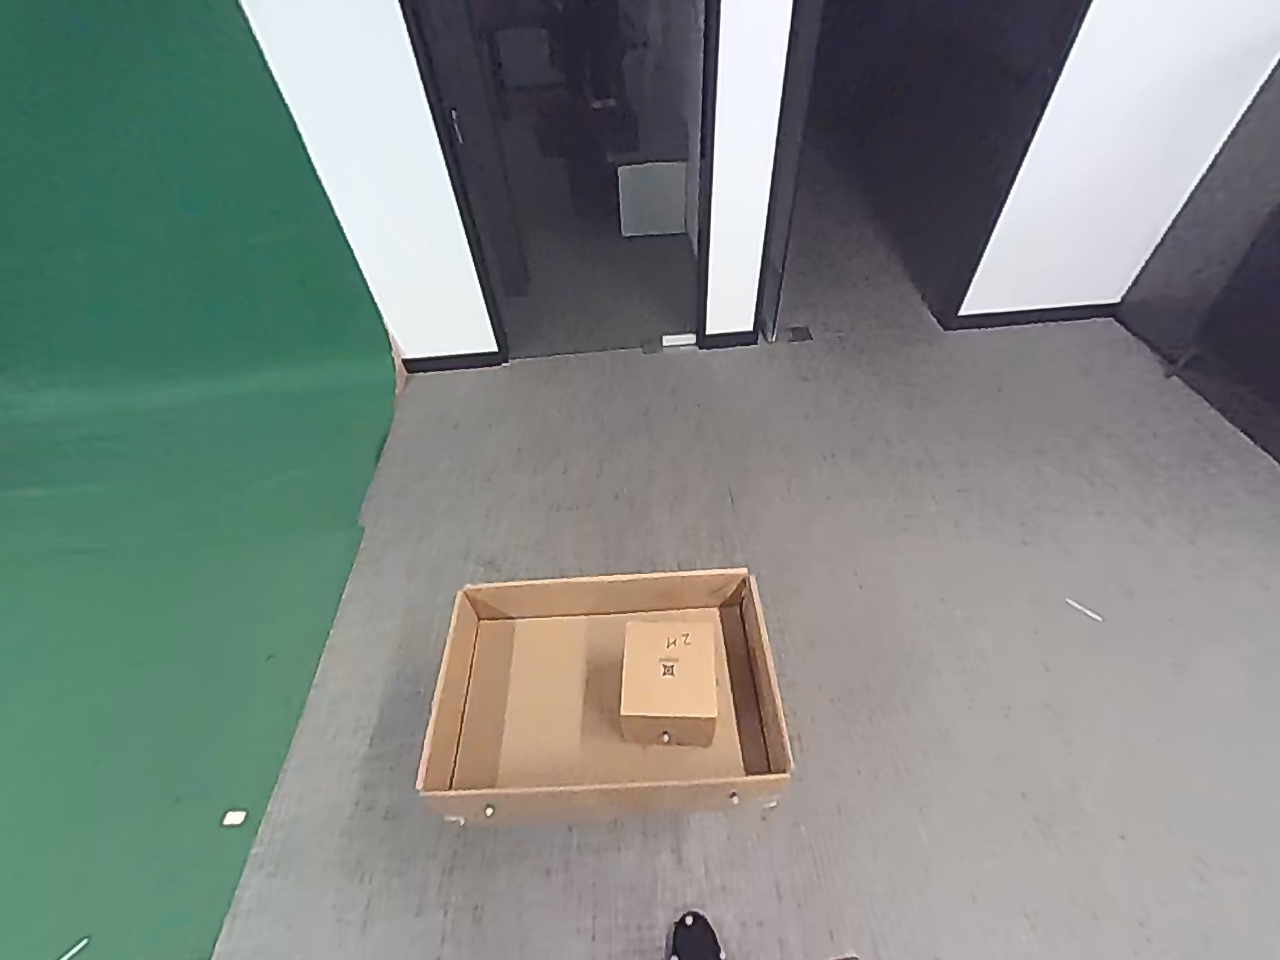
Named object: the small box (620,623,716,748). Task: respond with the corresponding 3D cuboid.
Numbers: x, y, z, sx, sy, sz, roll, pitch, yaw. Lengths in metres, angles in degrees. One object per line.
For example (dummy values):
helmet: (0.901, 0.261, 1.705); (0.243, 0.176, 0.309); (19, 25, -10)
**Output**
small box: (0.057, 0.386, 1.009); (0.168, 0.176, 0.179); (0, 47, 4)
